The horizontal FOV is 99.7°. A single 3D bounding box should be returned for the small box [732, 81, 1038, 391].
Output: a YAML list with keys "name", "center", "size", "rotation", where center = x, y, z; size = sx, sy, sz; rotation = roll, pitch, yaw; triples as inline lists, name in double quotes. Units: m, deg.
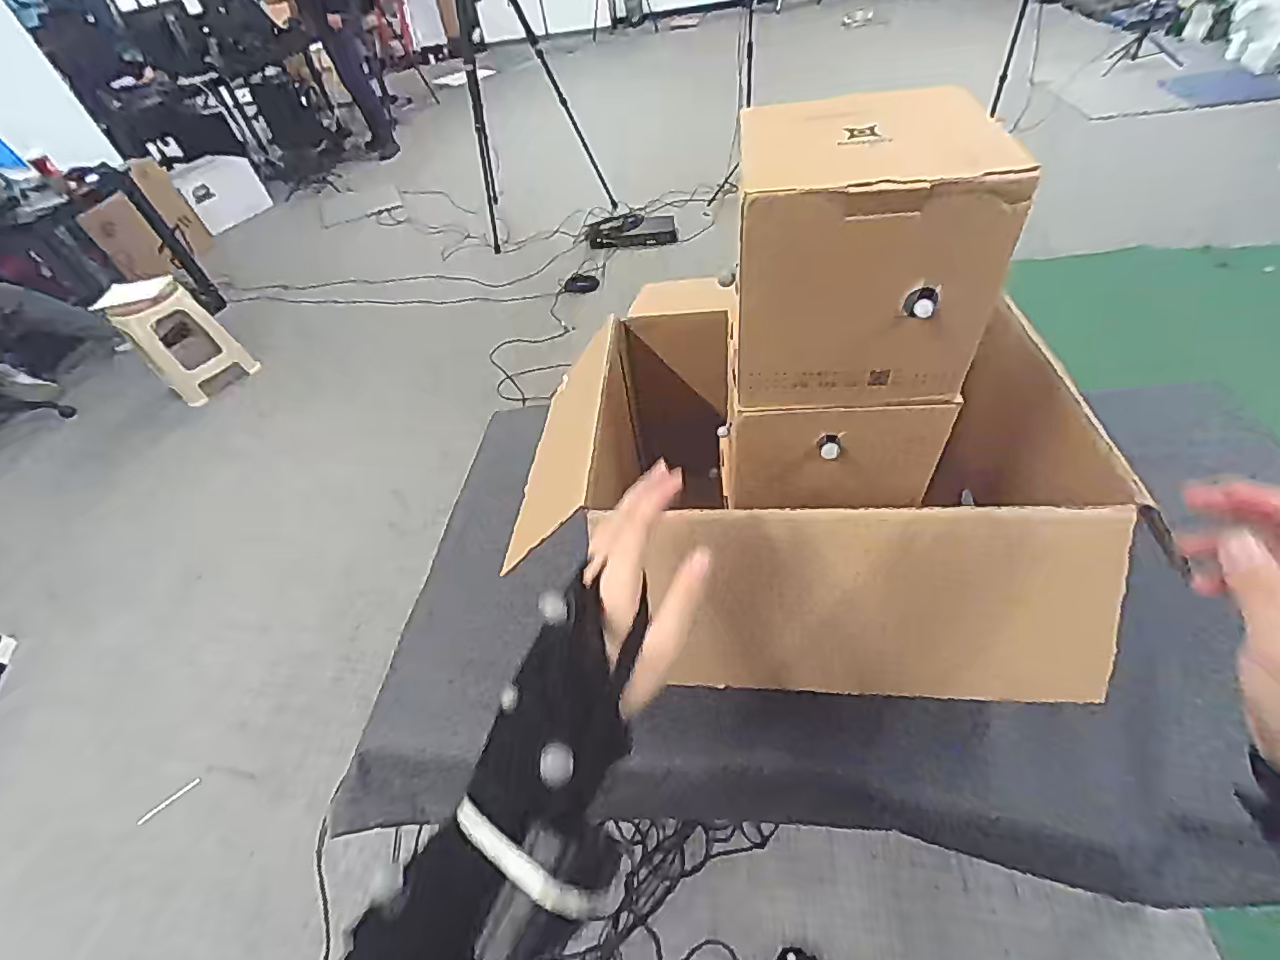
- name: "small box"
  center: [0.159, -0.183, 0.424]
  size: [0.168, 0.176, 0.179]
  rotation: [1, 47, 8]

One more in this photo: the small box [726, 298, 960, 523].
- name: "small box"
  center: [0.177, -0.069, 0.538]
  size: [0.179, 0.176, 0.168]
  rotation: [-1, 48, 8]
